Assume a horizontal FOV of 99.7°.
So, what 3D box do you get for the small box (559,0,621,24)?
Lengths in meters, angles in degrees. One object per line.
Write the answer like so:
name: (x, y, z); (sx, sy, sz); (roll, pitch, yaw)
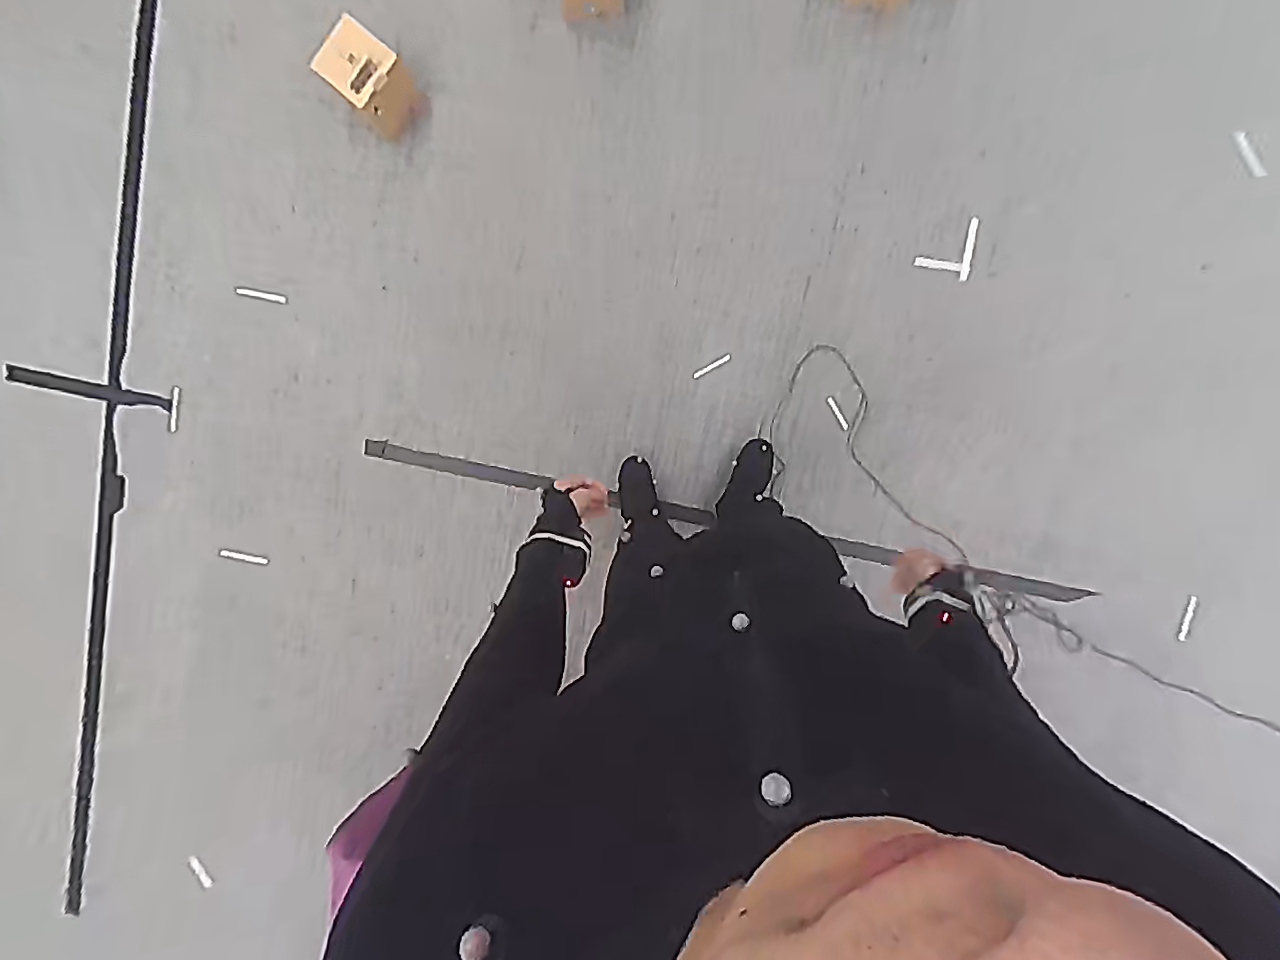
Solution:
small box: (-0.141, -1.365, 1.430); (0.168, 0.176, 0.179); (-4, 95, 2)
